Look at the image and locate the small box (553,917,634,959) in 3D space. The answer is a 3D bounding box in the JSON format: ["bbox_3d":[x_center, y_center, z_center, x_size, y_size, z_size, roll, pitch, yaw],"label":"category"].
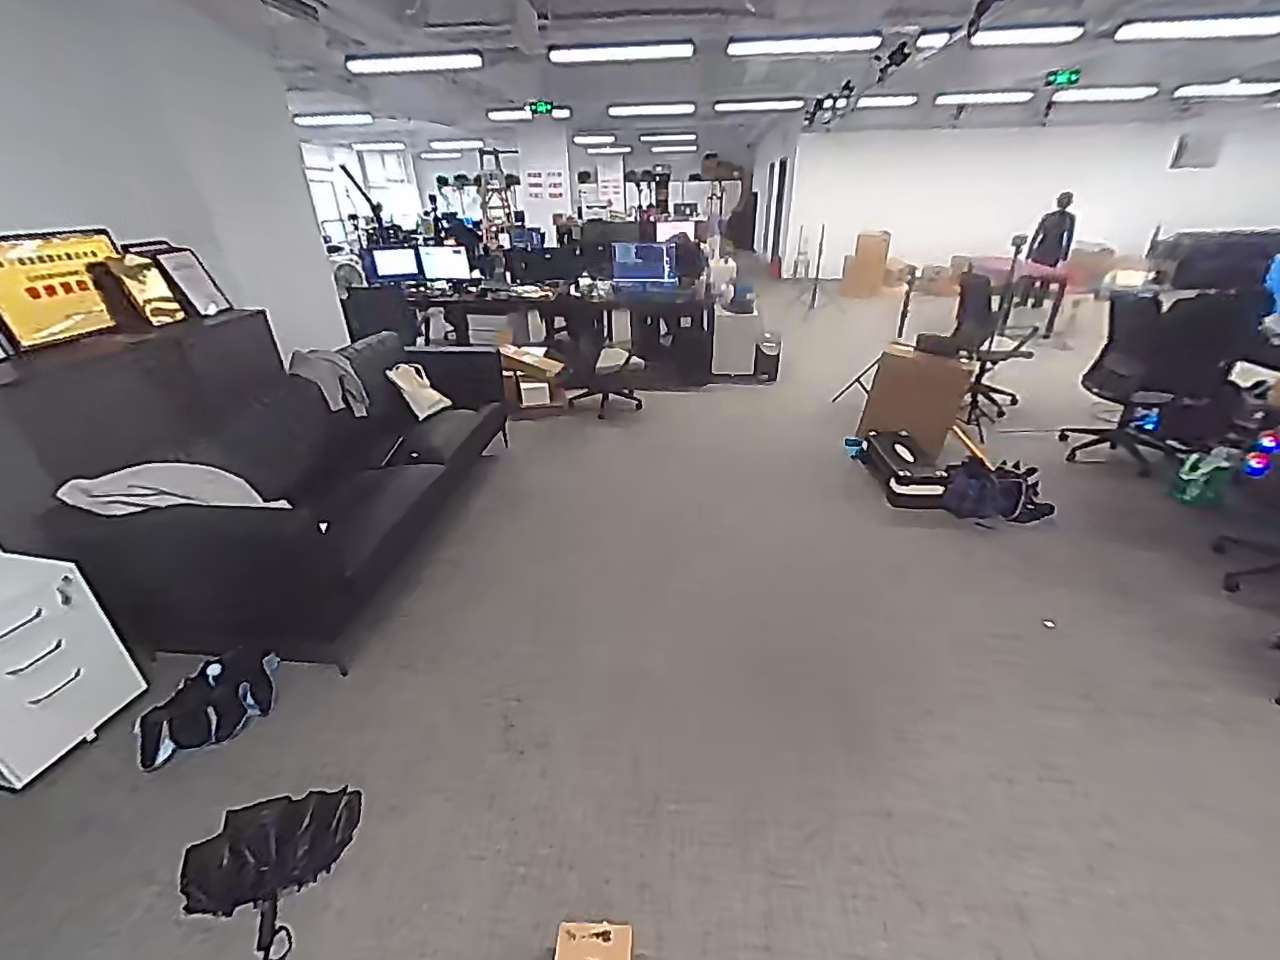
[{"bbox_3d":[-0.102,1.100,1.180,0.168,0.176,0.179,0,30,3],"label":"small box"}]
